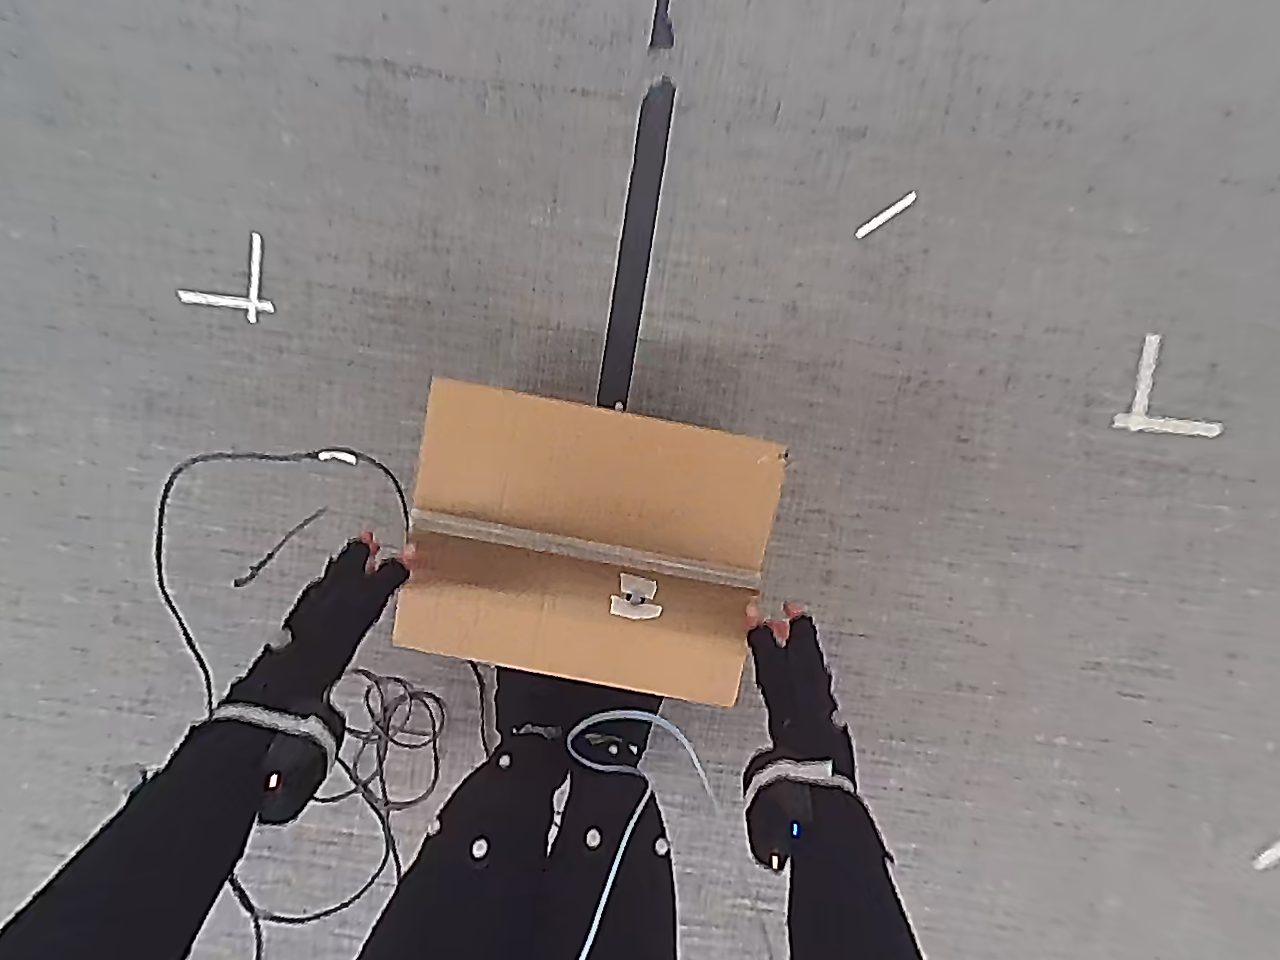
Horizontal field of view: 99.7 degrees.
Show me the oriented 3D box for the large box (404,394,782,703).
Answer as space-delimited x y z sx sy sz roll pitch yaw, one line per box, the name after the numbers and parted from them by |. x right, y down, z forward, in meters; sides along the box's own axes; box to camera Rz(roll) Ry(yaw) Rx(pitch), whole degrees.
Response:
-0.060 0.073 0.773 0.408 0.320 0.320 11 95 -1 | large box
